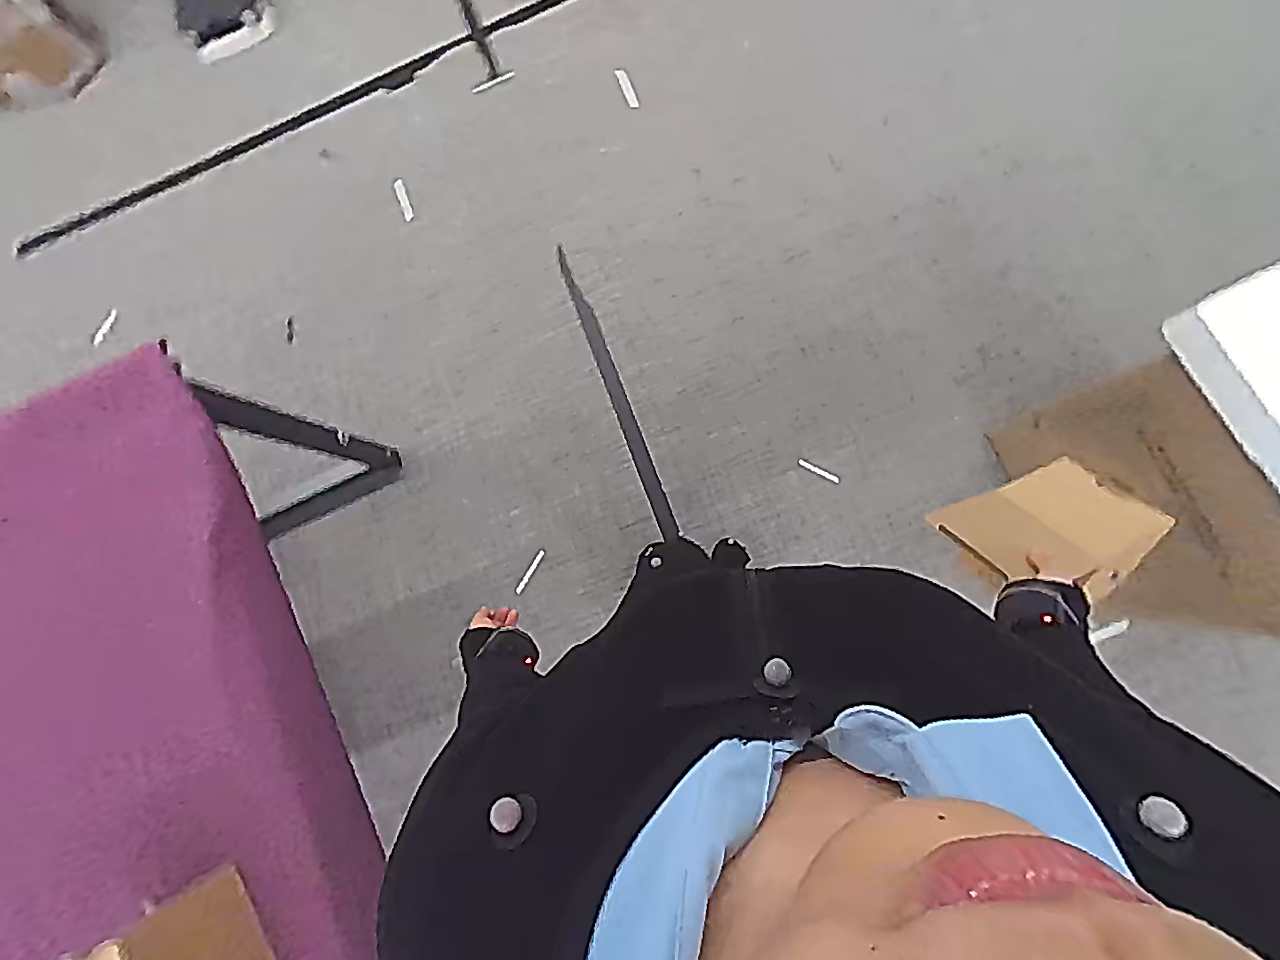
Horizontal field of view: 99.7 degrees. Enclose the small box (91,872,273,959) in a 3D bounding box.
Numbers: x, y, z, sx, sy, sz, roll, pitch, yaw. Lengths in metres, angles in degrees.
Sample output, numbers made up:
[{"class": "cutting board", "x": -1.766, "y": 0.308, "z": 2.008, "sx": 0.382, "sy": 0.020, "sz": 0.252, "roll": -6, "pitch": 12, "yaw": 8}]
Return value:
[{"class": "small box", "x": -0.615, "y": 0.664, "z": 0.691, "sx": 0.168, "sy": 0.176, "sz": 0.179, "roll": -33, "pitch": 80, "yaw": 0}]
